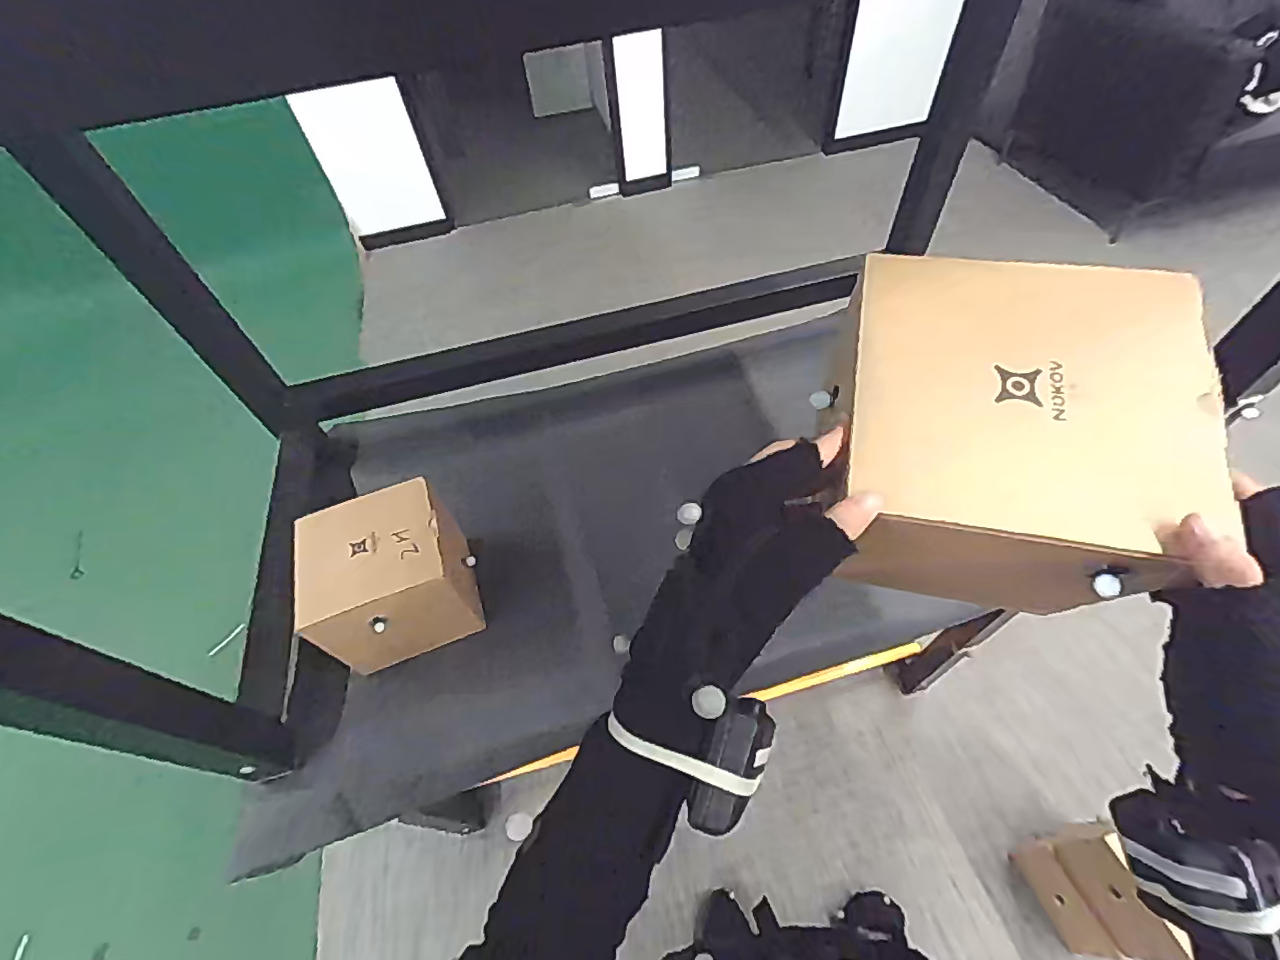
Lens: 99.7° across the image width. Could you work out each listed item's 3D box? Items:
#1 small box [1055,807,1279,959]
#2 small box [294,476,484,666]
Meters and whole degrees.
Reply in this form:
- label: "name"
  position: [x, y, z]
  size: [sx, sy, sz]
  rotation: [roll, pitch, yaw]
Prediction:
- label: "small box"
  position: [0.870, 0.683, 0.913]
  size: [0.168, 0.176, 0.179]
  rotation: [-17, 53, -7]
- label: "small box"
  position: [-0.334, 0.129, 0.736]
  size: [0.179, 0.176, 0.168]
  rotation: [-19, 55, -9]
